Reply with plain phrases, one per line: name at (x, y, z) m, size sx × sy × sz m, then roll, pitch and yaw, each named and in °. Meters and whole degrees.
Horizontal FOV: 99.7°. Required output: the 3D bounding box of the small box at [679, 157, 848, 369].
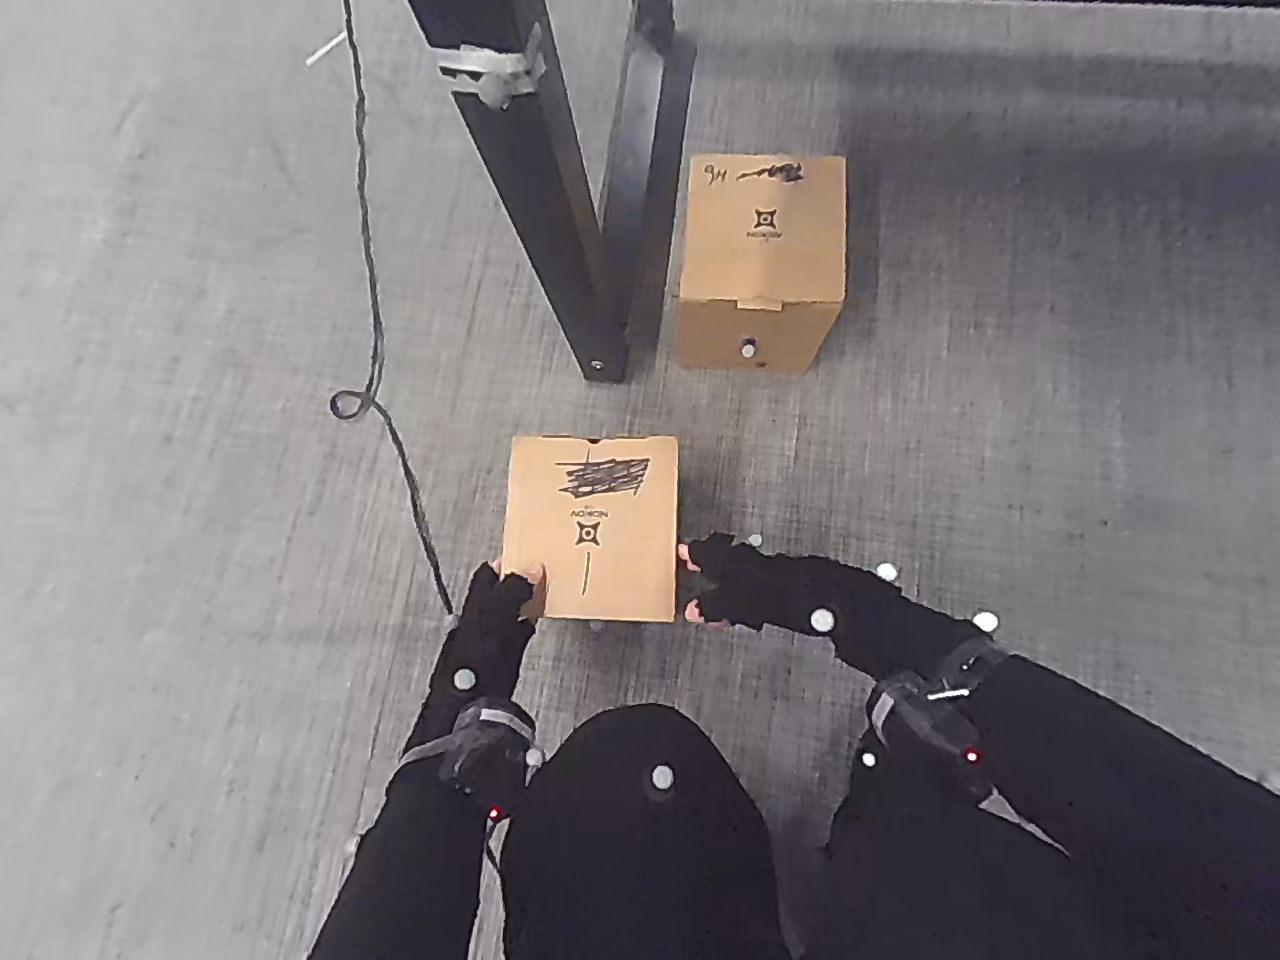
small box at (0.137, -0.245, 0.642) m, size 0.168 × 0.176 × 0.179 m, roll 5°, pitch 79°, yaw 6°
